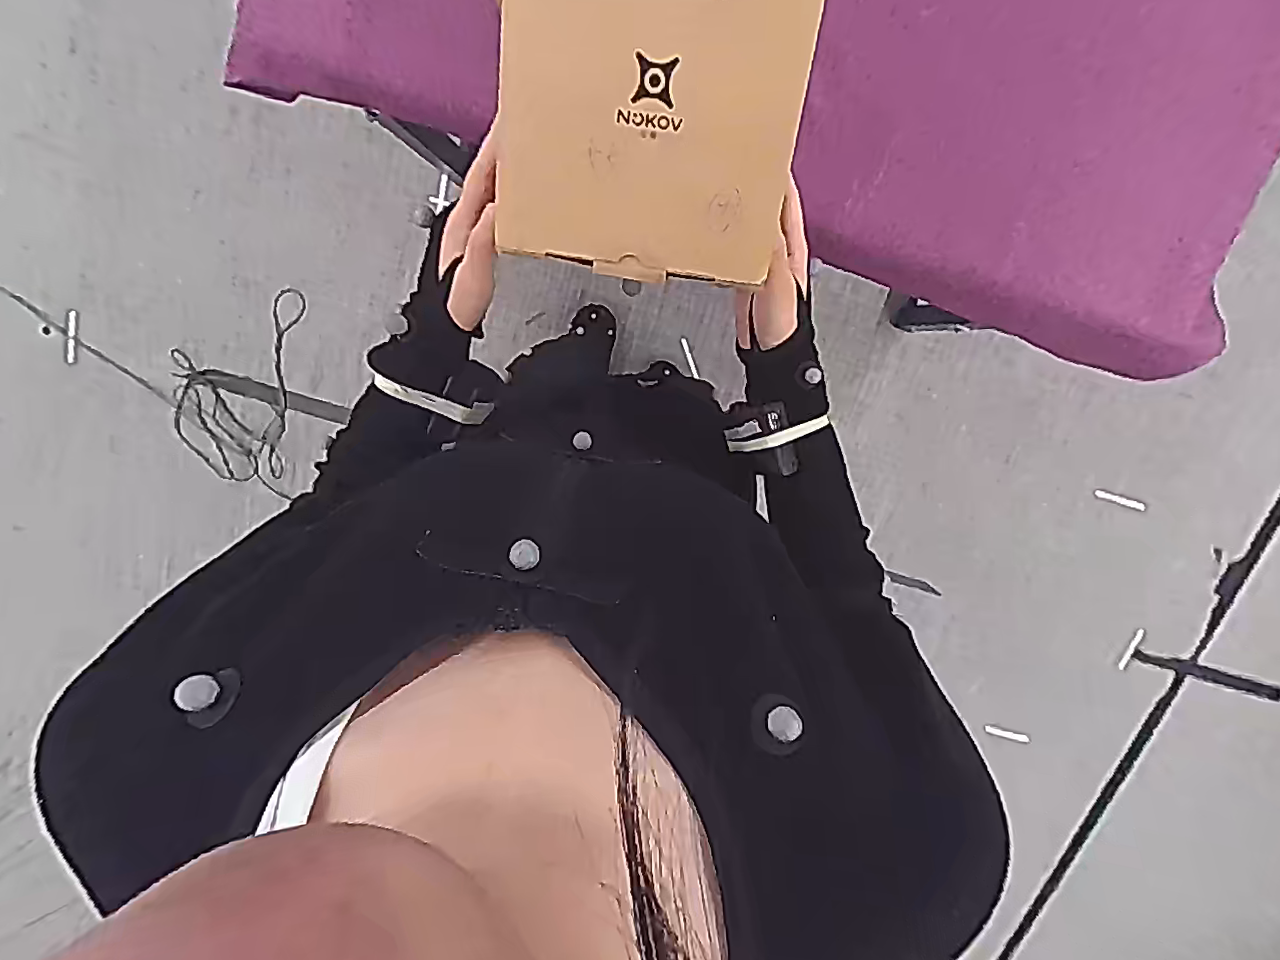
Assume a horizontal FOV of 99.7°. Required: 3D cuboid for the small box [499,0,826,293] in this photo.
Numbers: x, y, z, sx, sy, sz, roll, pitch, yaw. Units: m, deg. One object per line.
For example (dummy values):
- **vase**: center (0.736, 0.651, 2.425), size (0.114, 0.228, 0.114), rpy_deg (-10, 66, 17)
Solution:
- **small box**: center (0.010, -0.237, 0.374), size (0.168, 0.176, 0.179), rpy_deg (9, 111, -2)
